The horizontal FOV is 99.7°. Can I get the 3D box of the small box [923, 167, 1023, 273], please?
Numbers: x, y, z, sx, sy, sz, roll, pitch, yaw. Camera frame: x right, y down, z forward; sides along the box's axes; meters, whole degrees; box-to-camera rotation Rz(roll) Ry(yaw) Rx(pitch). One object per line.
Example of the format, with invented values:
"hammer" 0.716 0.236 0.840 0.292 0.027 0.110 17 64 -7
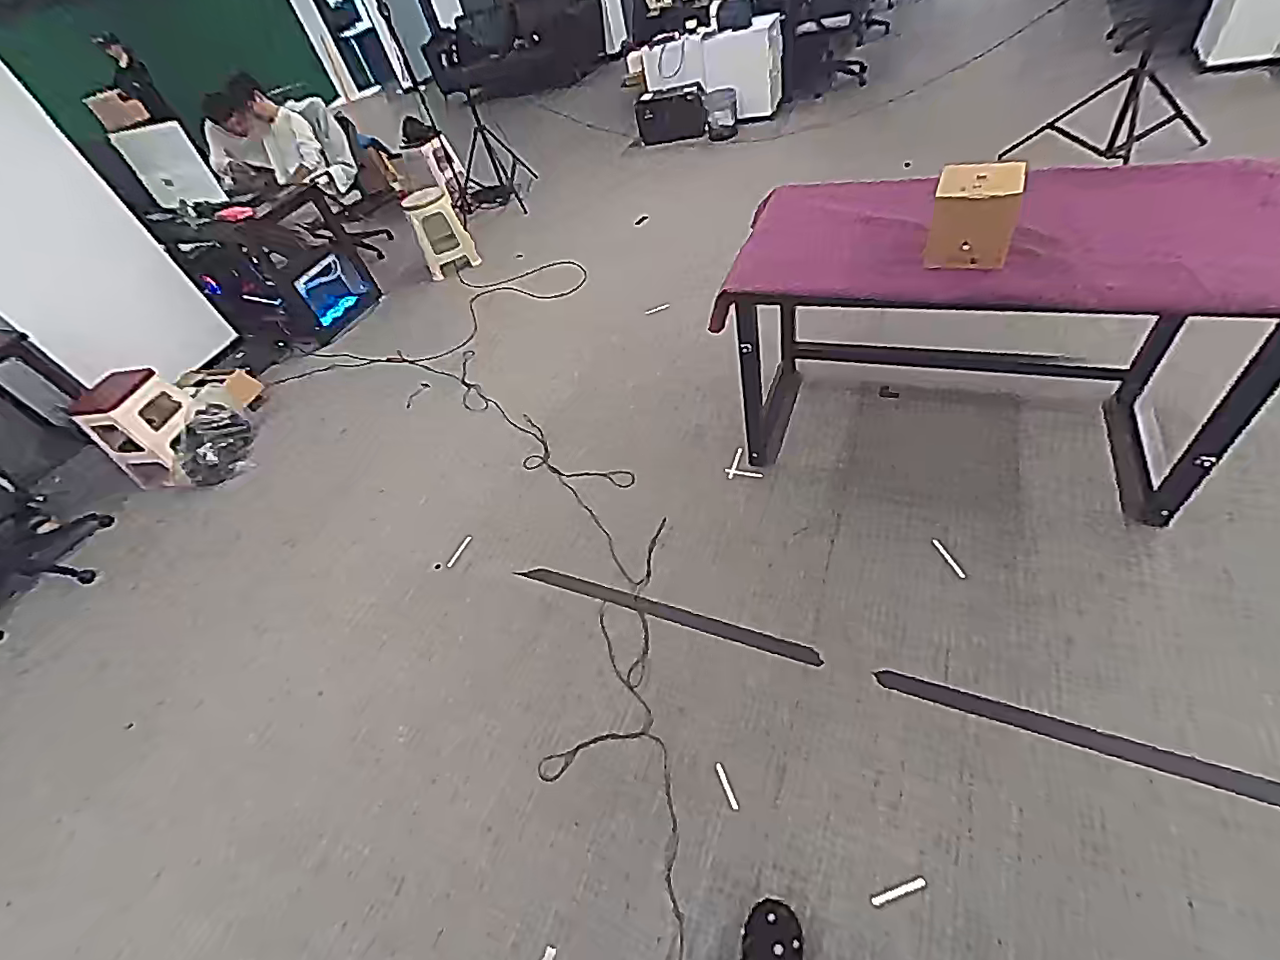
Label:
"small box" 0.775 -0.609 1.267 0.168 0.176 0.179 12 52 26
